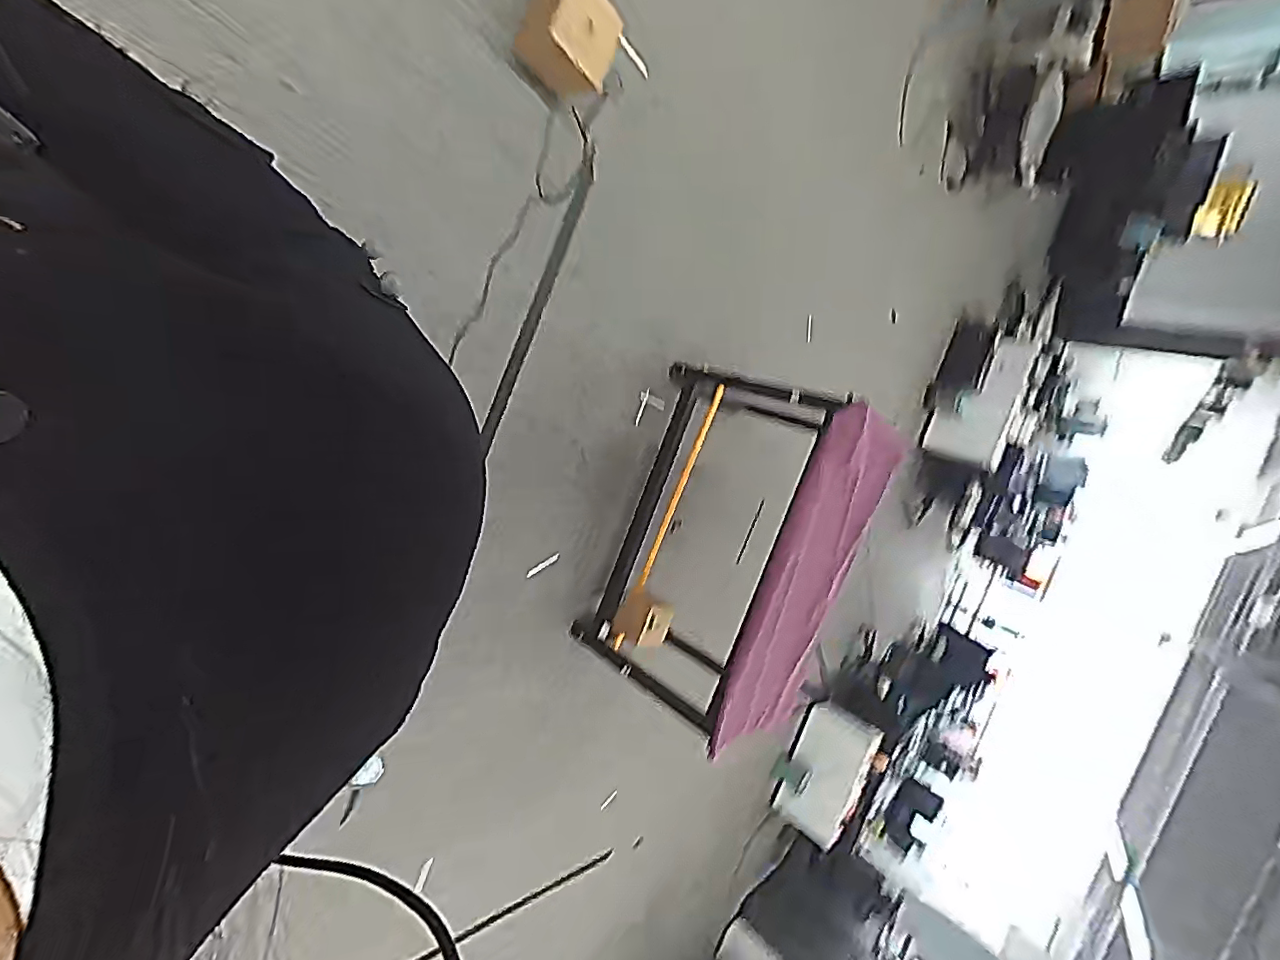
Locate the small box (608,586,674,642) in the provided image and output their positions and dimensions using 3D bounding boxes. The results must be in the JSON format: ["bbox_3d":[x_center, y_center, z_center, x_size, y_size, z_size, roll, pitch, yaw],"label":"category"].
[{"bbox_3d":[-0.001,0.534,2.167,0.179,0.176,0.168,18,94,-52],"label":"small box"}]

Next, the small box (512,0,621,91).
[{"bbox_3d":[-0.183,-1.096,1.313,0.168,0.176,0.179,19,94,-49],"label":"small box"}]
